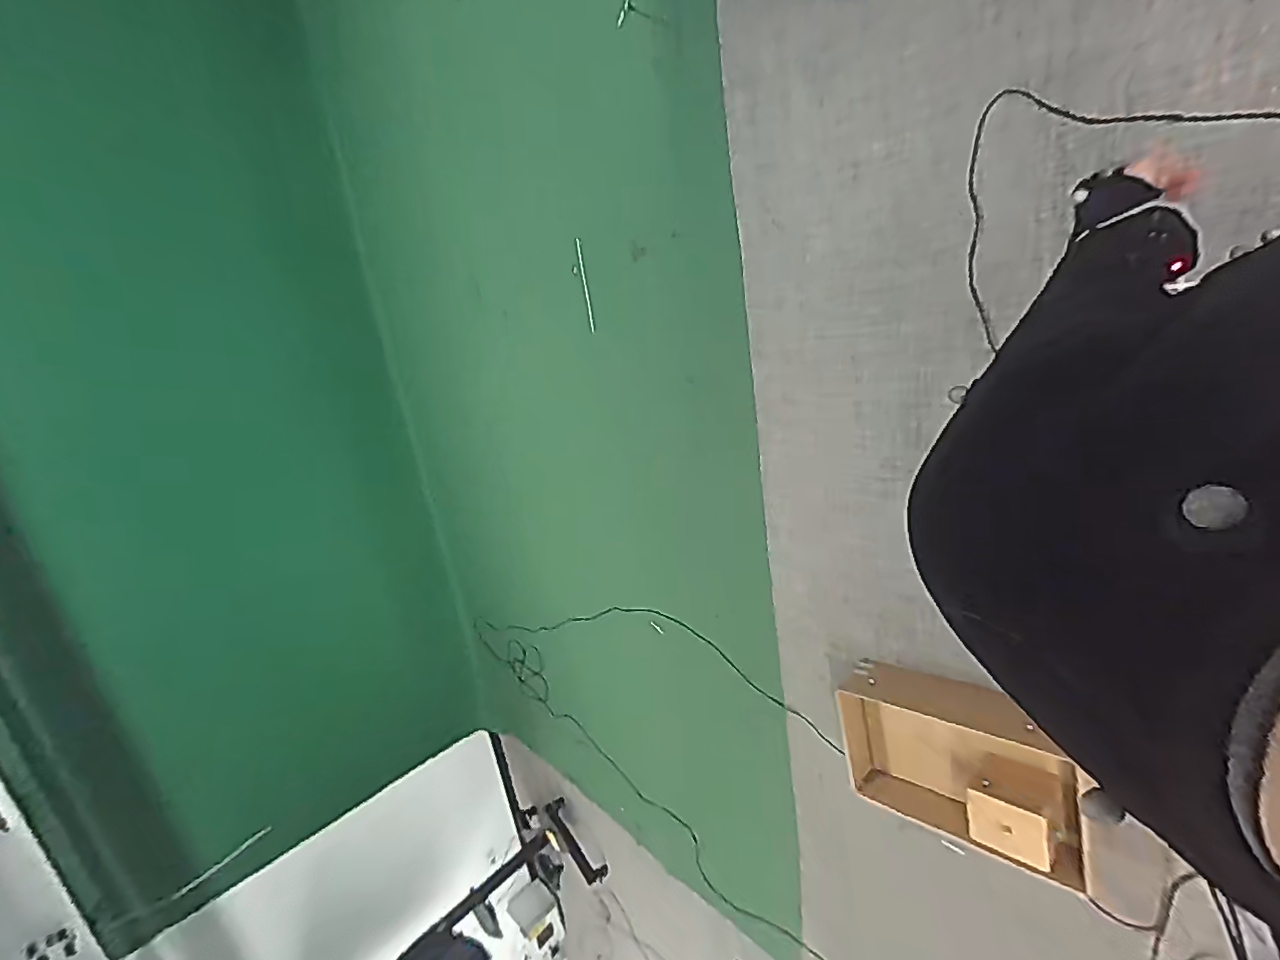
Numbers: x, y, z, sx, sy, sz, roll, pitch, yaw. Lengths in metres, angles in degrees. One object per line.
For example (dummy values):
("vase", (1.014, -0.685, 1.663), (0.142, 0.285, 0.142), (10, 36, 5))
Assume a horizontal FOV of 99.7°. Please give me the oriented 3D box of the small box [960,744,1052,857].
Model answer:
("small box", (0.998, 0.857, 1.468), (0.179, 0.176, 0.168), (1, 107, 49))
